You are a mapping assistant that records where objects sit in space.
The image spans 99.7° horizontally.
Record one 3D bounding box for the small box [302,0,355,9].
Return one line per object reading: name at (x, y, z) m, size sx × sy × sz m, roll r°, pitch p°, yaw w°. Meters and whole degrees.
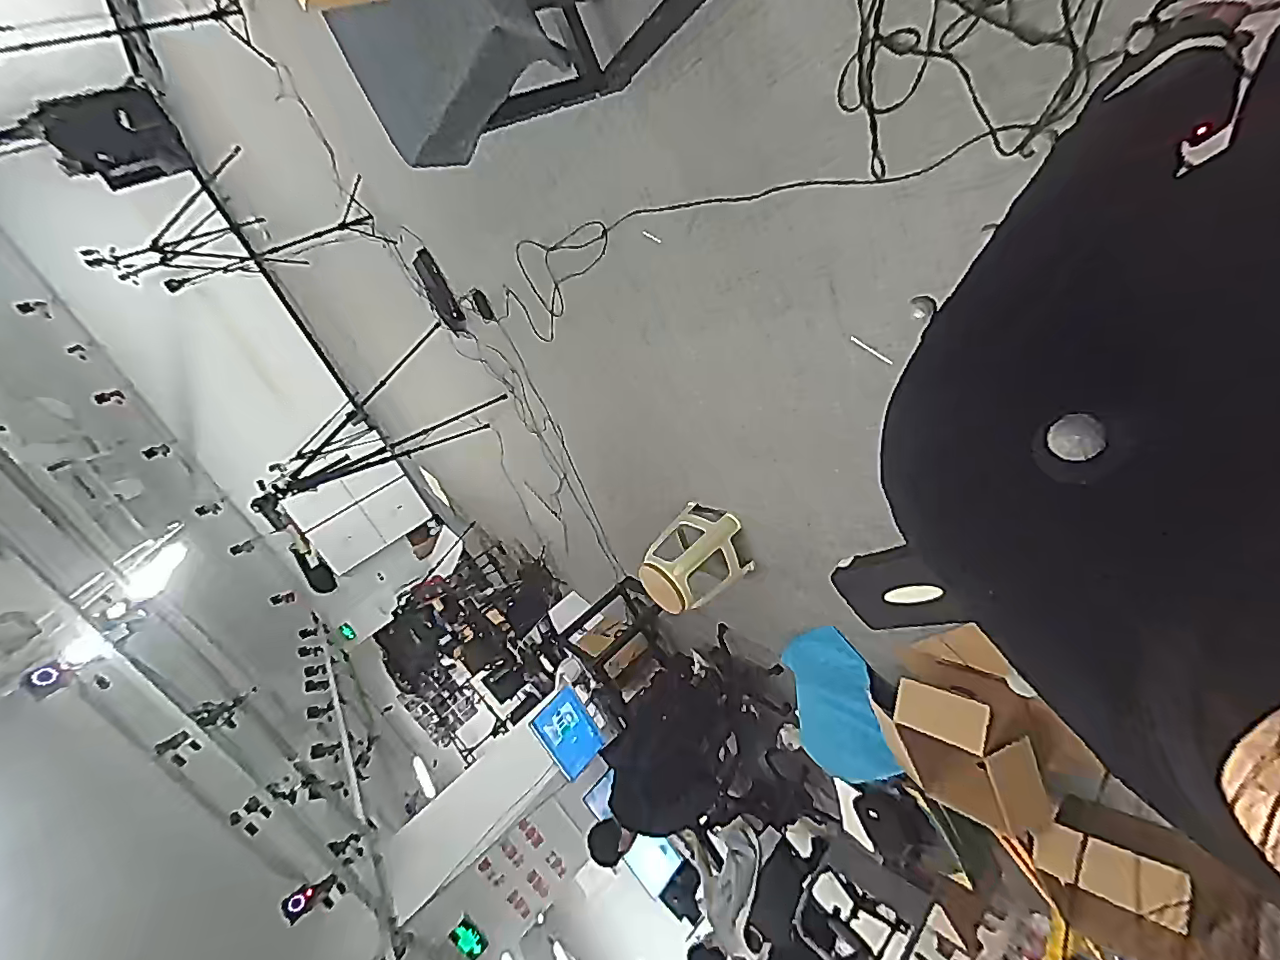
small box at (-0.530, -0.960, 0.923) m, size 0.179 × 0.176 × 0.168 m, roll 5°, pitch 126°, yaw 56°
